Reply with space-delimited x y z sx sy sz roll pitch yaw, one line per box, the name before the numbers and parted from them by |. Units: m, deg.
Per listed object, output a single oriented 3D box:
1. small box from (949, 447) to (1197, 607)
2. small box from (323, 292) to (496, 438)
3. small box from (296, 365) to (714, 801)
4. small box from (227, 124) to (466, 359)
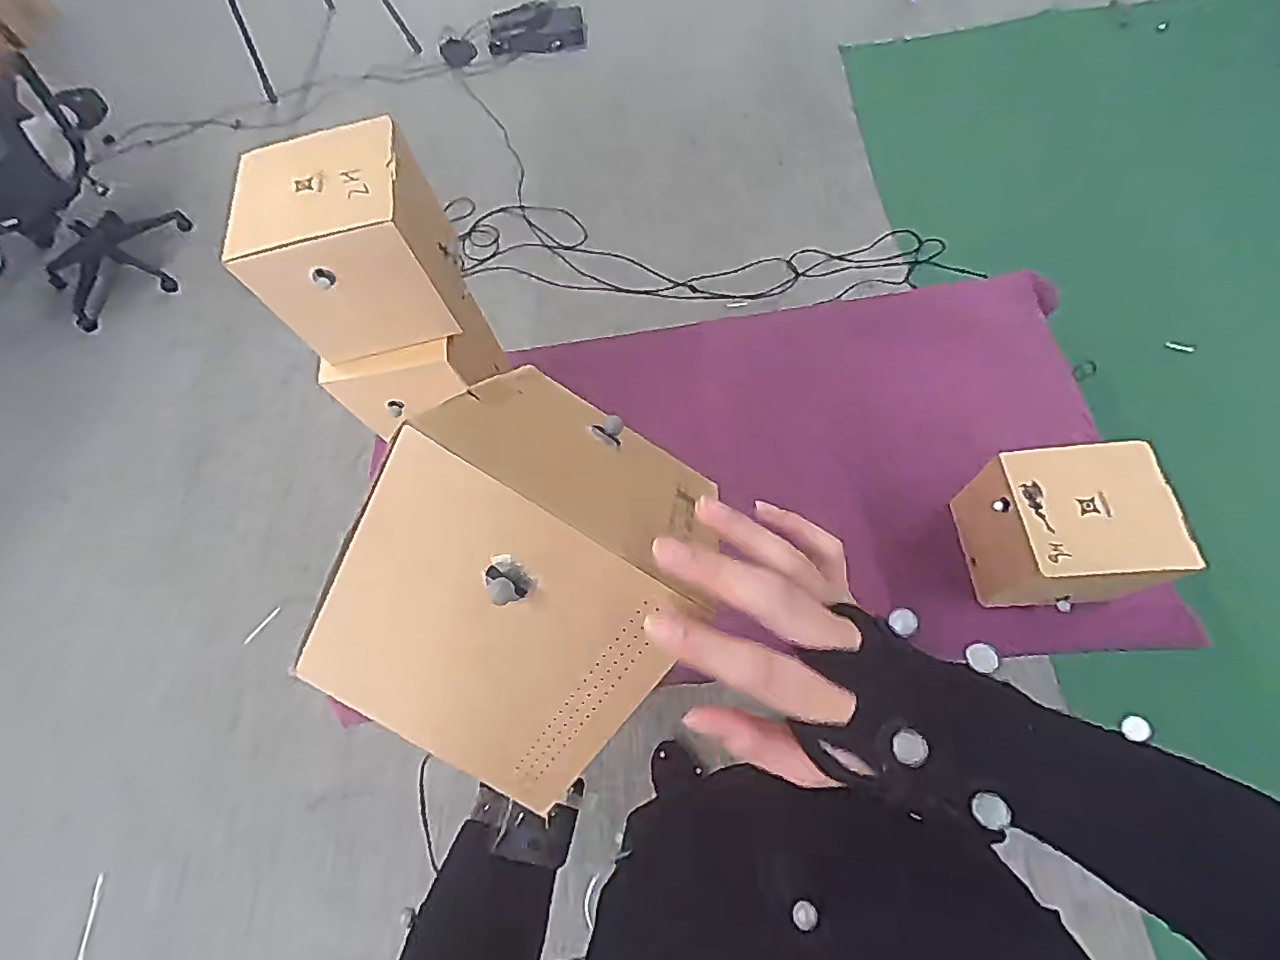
small box | 0.552 0.070 0.722 0.179 0.176 0.168 -4 64 6
small box | -0.311 -0.172 0.766 0.168 0.176 0.179 -10 65 3
small box | -0.066 0.056 0.348 0.176 0.168 0.179 33 112 -4
small box | -0.322 -0.264 0.627 0.179 0.176 0.168 -13 65 1
